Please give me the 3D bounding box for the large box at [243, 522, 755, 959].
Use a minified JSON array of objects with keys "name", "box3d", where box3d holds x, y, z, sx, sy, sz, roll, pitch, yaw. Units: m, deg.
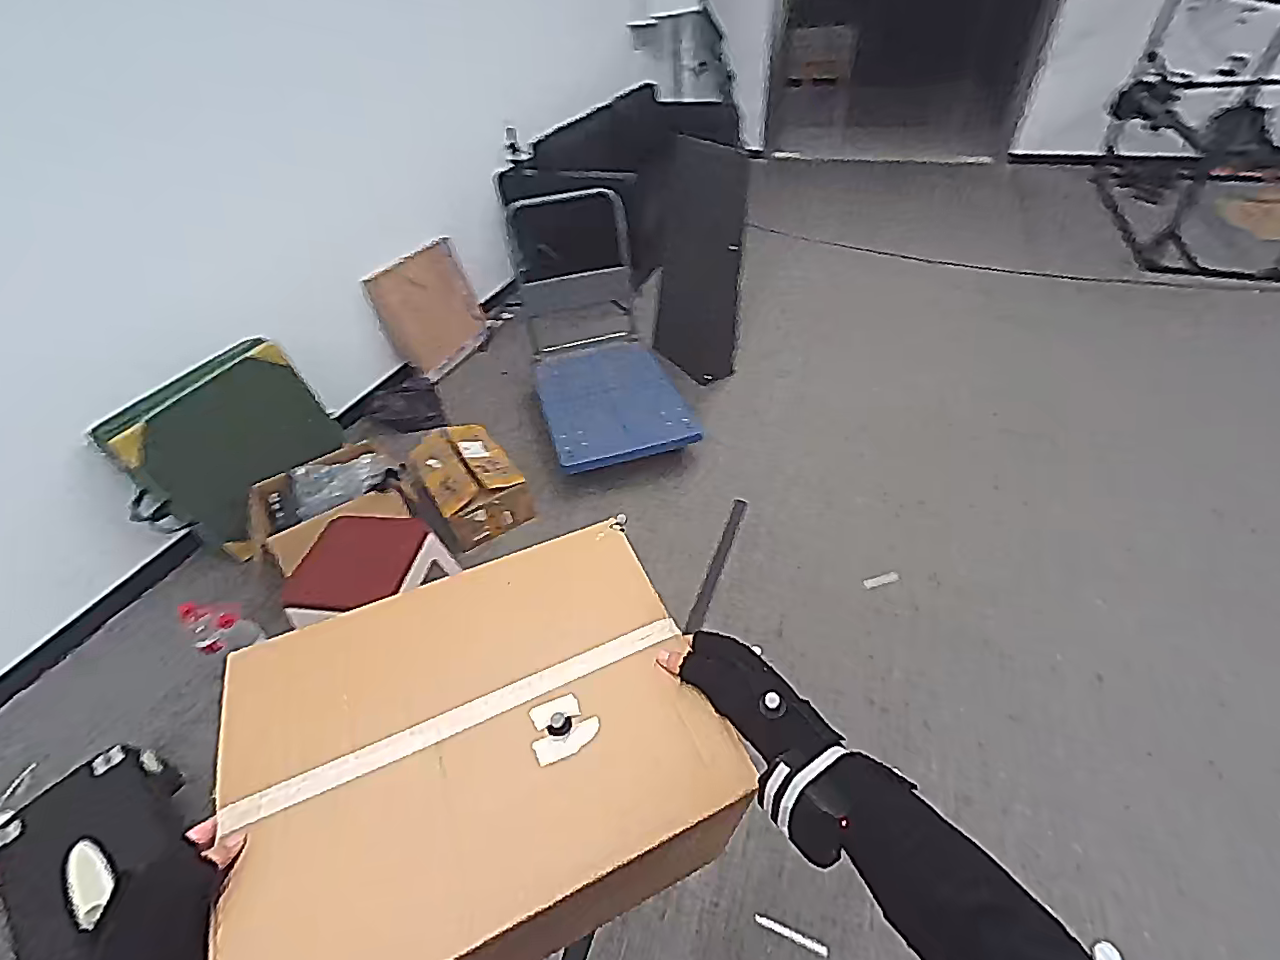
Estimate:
[{"name":"large box","box3d":[-0.140,0.311,0.605,0.408,0.320,0.320,-17,49,-16]}]
